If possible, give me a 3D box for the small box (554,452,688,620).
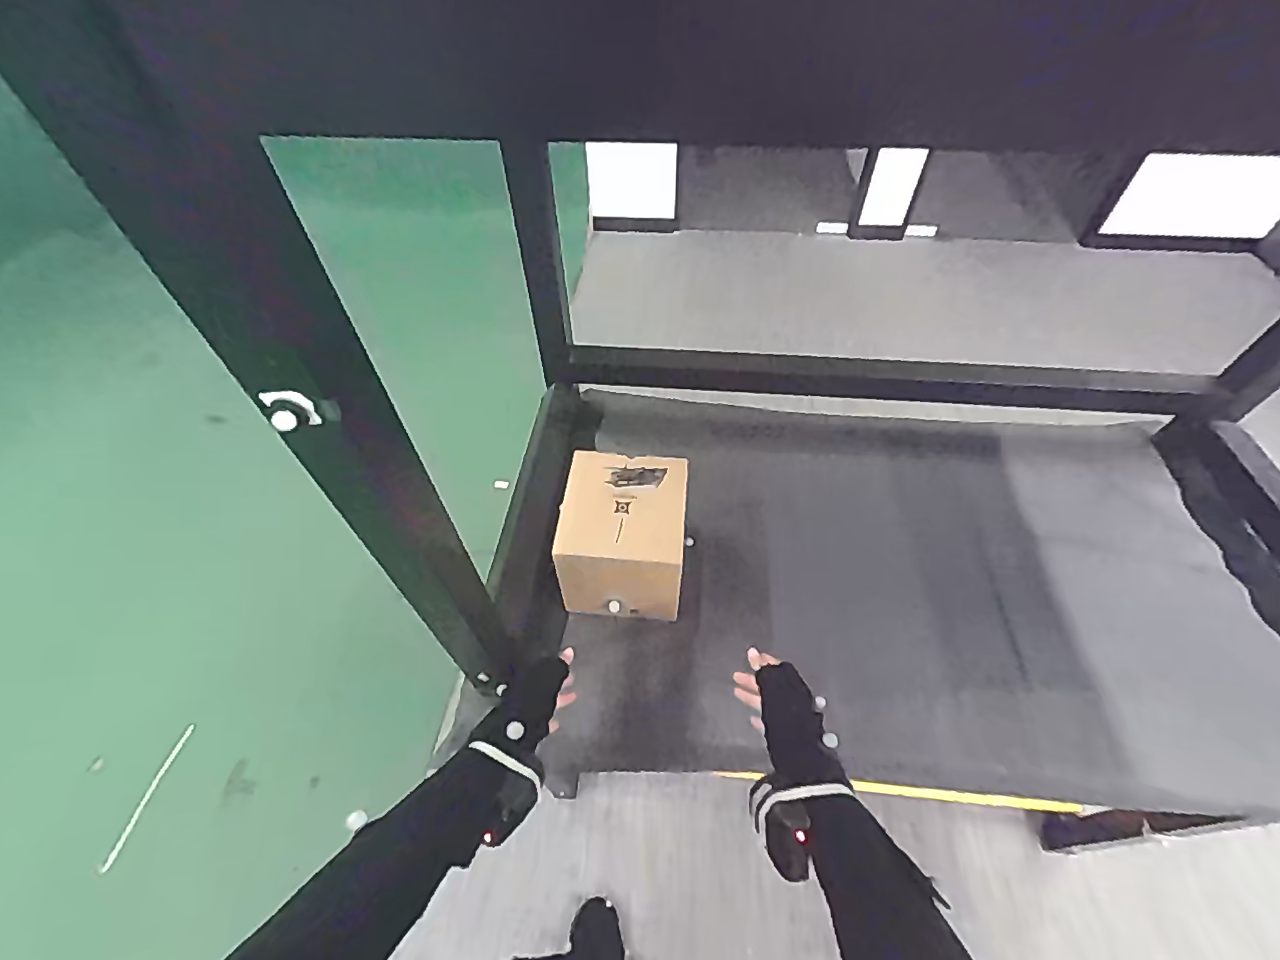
[{"bbox_3d":[-0.022,0.083,0.793,0.168,0.176,0.179,4,51,4],"label":"small box"}]
